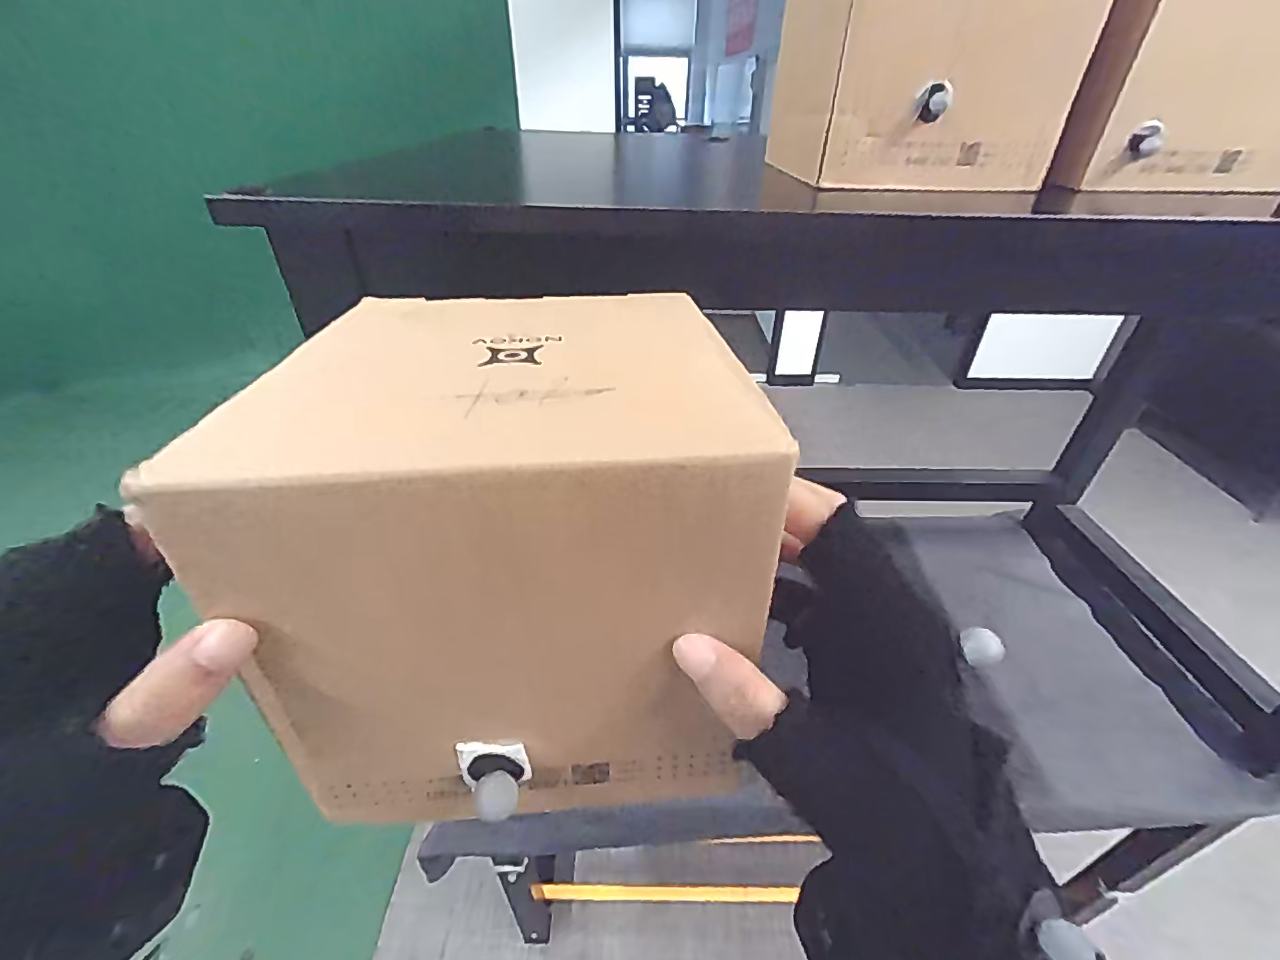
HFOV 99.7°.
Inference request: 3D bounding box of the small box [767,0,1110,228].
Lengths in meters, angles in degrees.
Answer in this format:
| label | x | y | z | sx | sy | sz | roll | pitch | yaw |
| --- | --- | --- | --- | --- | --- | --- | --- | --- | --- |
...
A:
| label | x | y | z | sx | sy | sz | roll | pitch | yaw |
| --- | --- | --- | --- | --- | --- | --- | --- | --- | --- |
| small box | 0.207 | -0.310 | 0.429 | 0.168 | 0.176 | 0.179 | 0 | 36 | -2 |
